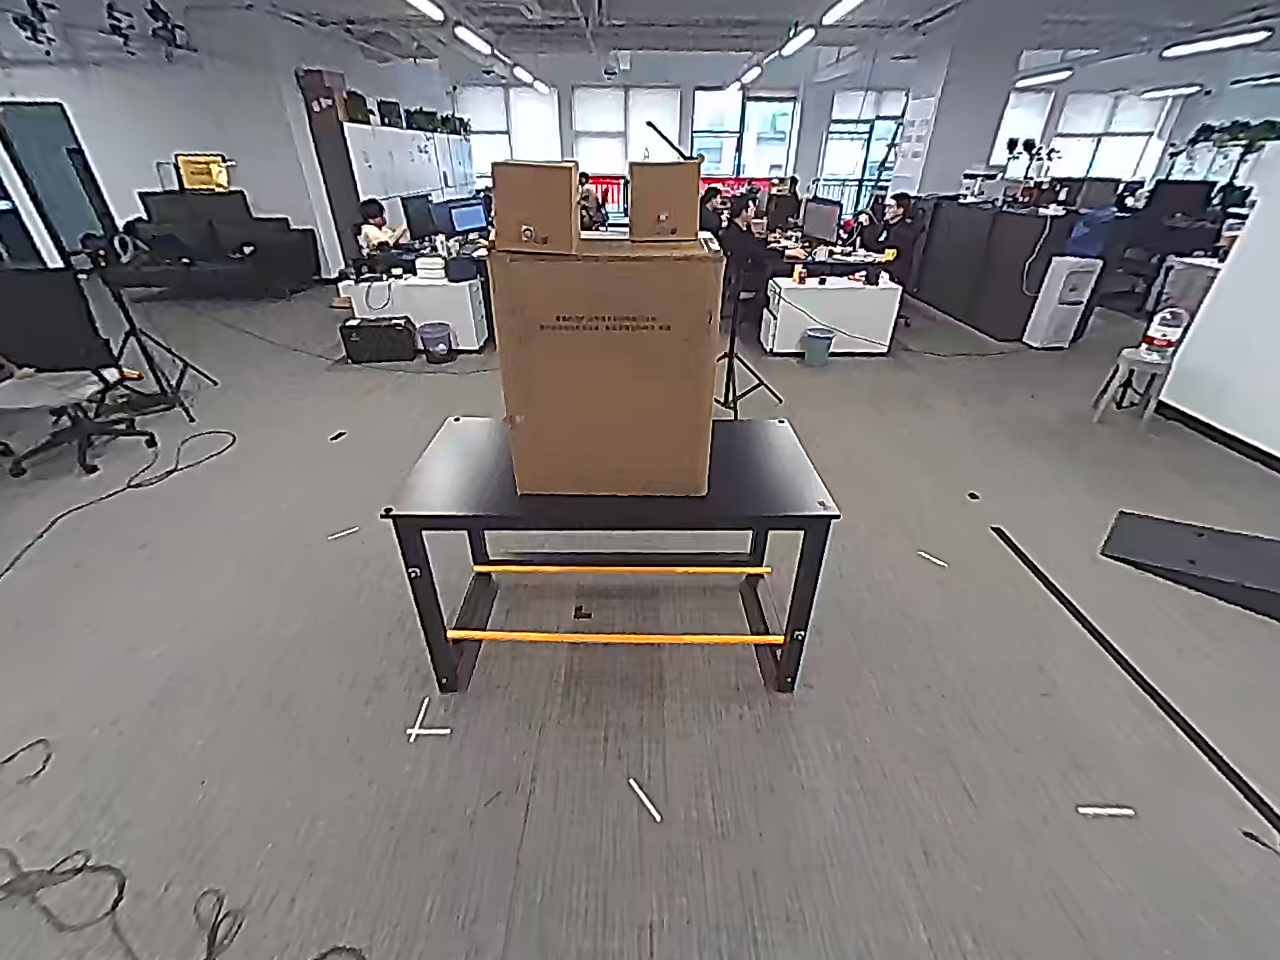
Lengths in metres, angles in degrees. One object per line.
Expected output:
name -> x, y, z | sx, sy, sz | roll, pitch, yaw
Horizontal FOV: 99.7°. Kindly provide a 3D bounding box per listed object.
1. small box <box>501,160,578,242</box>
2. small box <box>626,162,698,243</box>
small box -> -0.245, -0.703, 1.362 | 0.168, 0.176, 0.179 | 0, 29, -2
small box -> 0.048, -0.686, 1.337 | 0.168, 0.176, 0.179 | -2, 30, -2
